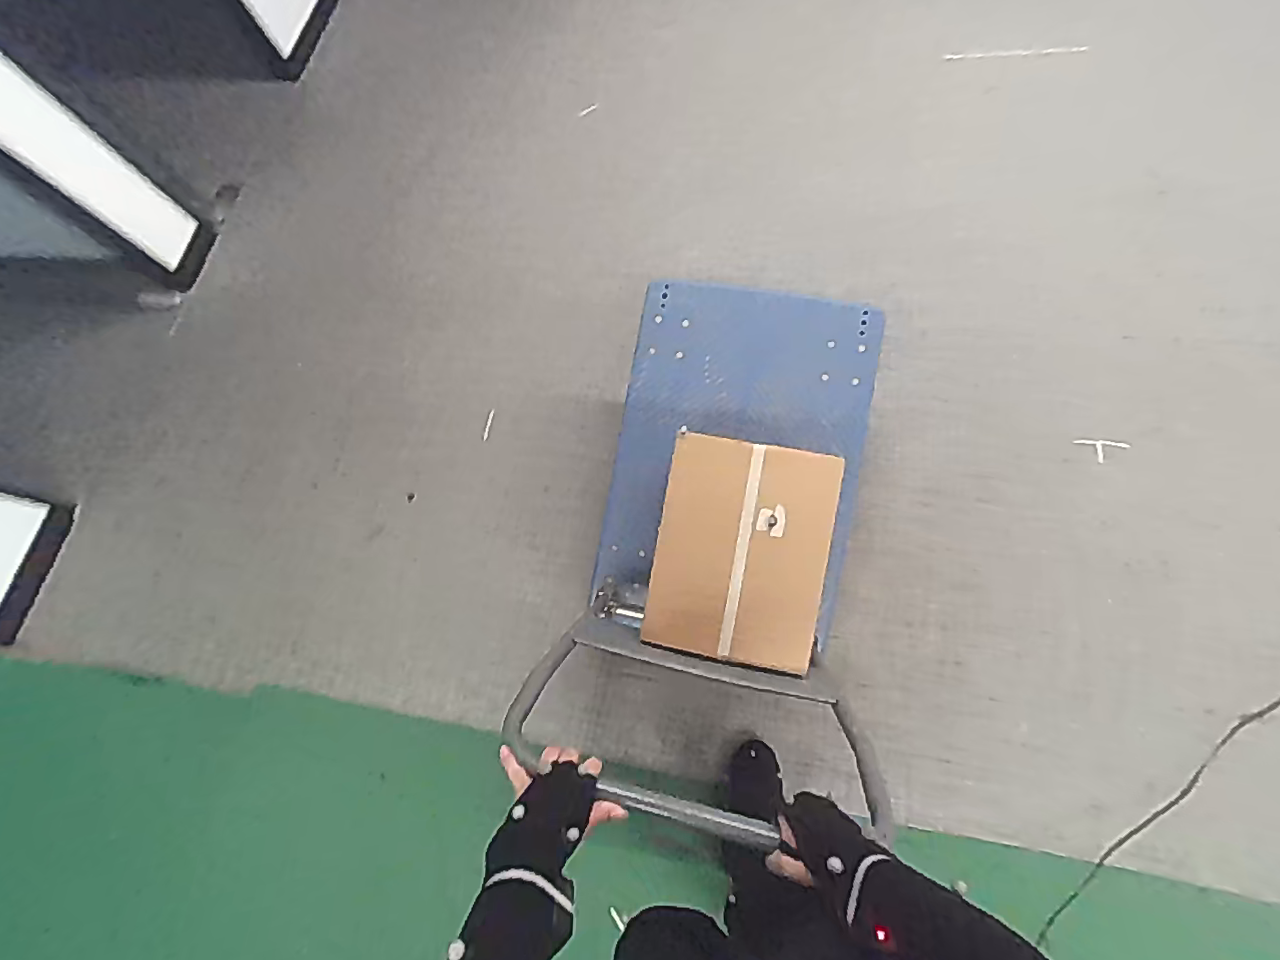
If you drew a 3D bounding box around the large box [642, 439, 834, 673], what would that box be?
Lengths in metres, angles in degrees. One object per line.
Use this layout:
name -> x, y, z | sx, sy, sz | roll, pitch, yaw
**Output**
large box -> 0.205, 0.149, 1.171 | 0.320, 0.320, 0.408 | 10, 88, 8
